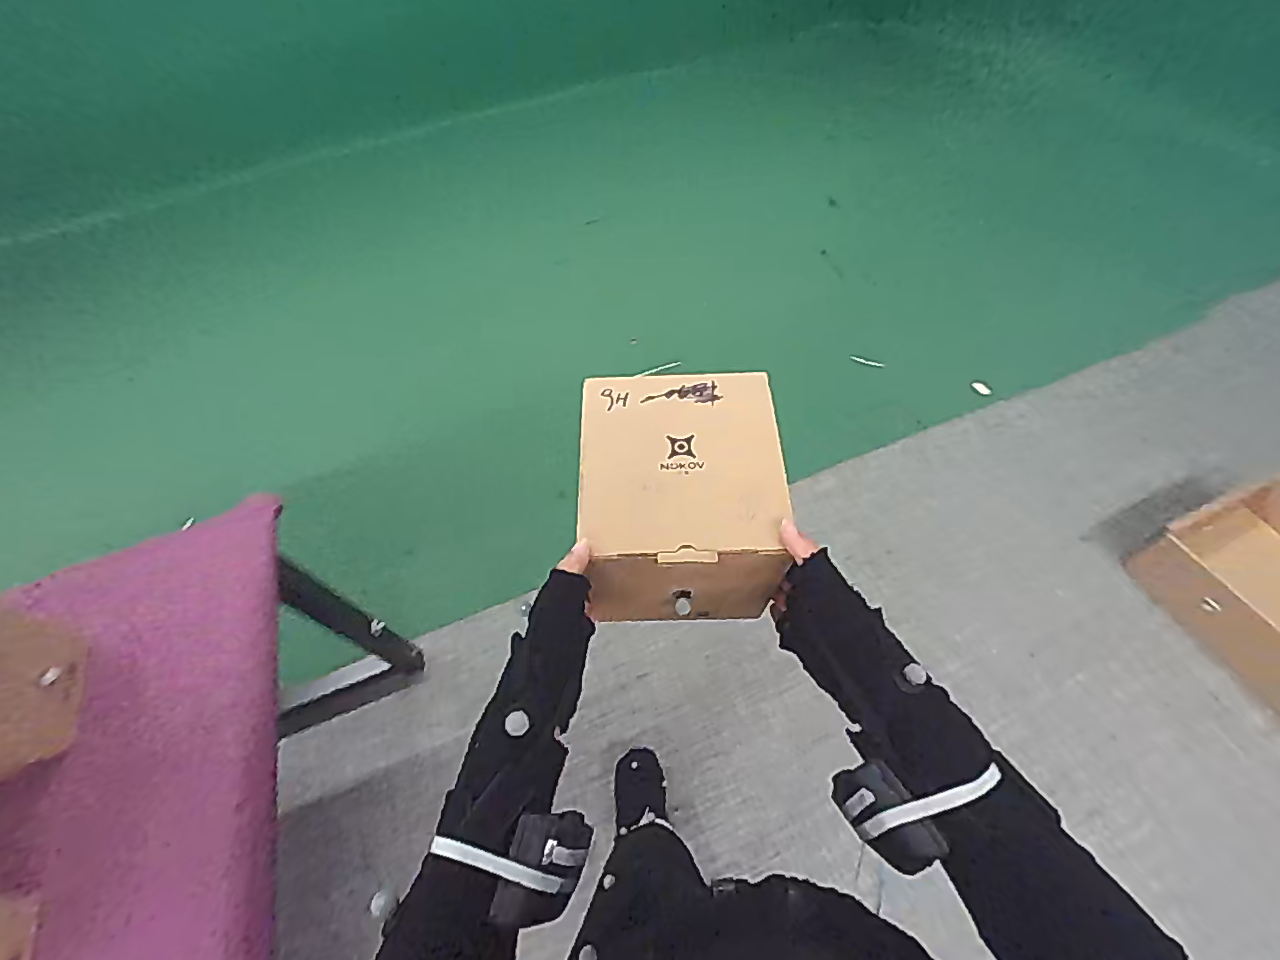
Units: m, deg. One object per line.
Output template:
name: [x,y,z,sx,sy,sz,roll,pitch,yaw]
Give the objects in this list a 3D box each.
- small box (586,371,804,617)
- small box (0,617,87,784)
small box: [0.042,0.023,0.509,0.168,0.176,0.179,-4,59,1]
small box: [-0.855,0.286,0.661,0.179,0.176,0.168,-23,58,-10]
